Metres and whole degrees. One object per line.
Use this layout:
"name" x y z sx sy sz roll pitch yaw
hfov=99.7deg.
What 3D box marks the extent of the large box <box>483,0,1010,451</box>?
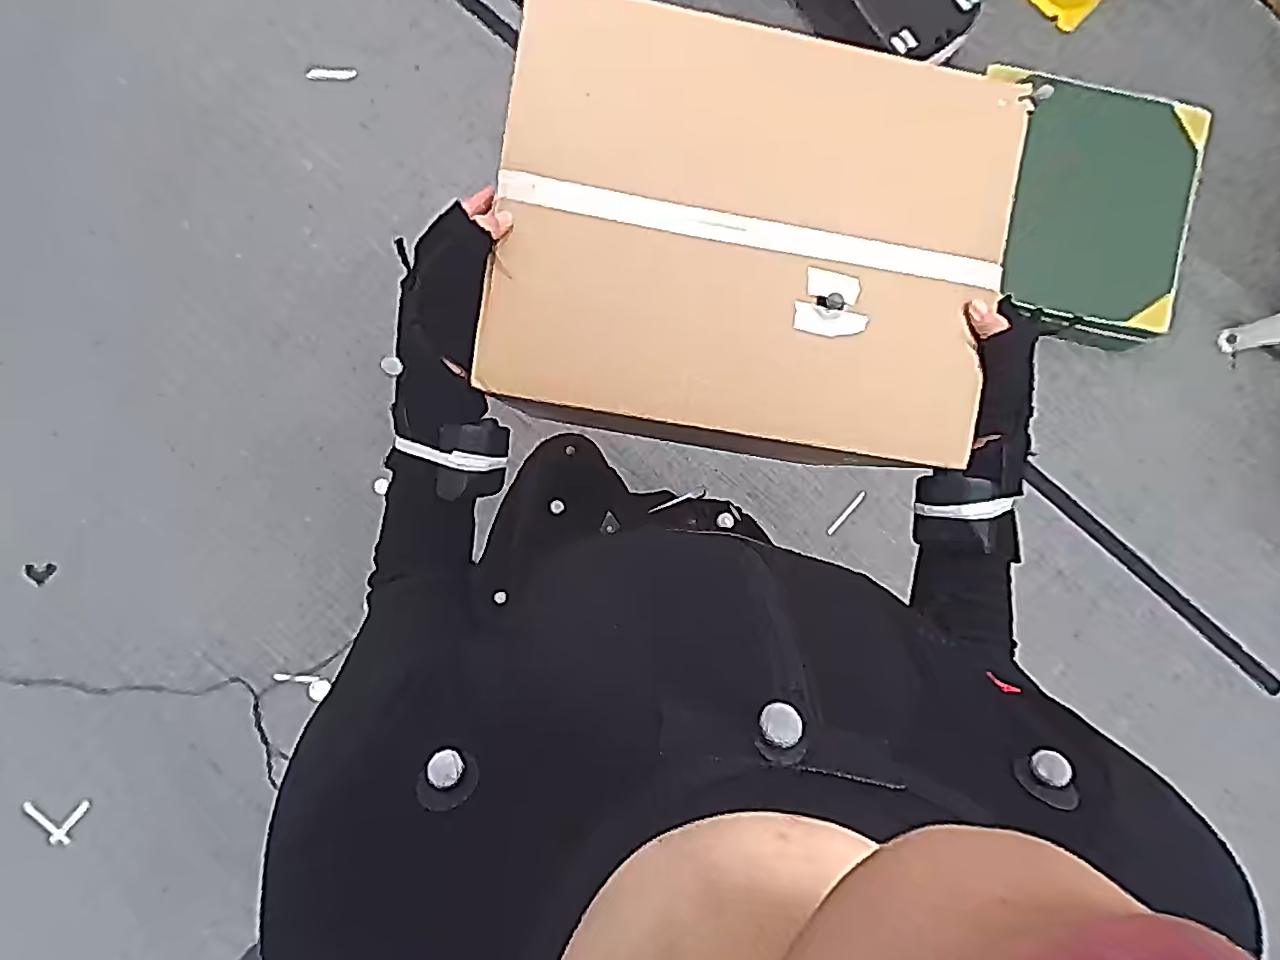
"large box" 0.078 -0.211 0.585 0.408 0.320 0.320 9 93 -5
